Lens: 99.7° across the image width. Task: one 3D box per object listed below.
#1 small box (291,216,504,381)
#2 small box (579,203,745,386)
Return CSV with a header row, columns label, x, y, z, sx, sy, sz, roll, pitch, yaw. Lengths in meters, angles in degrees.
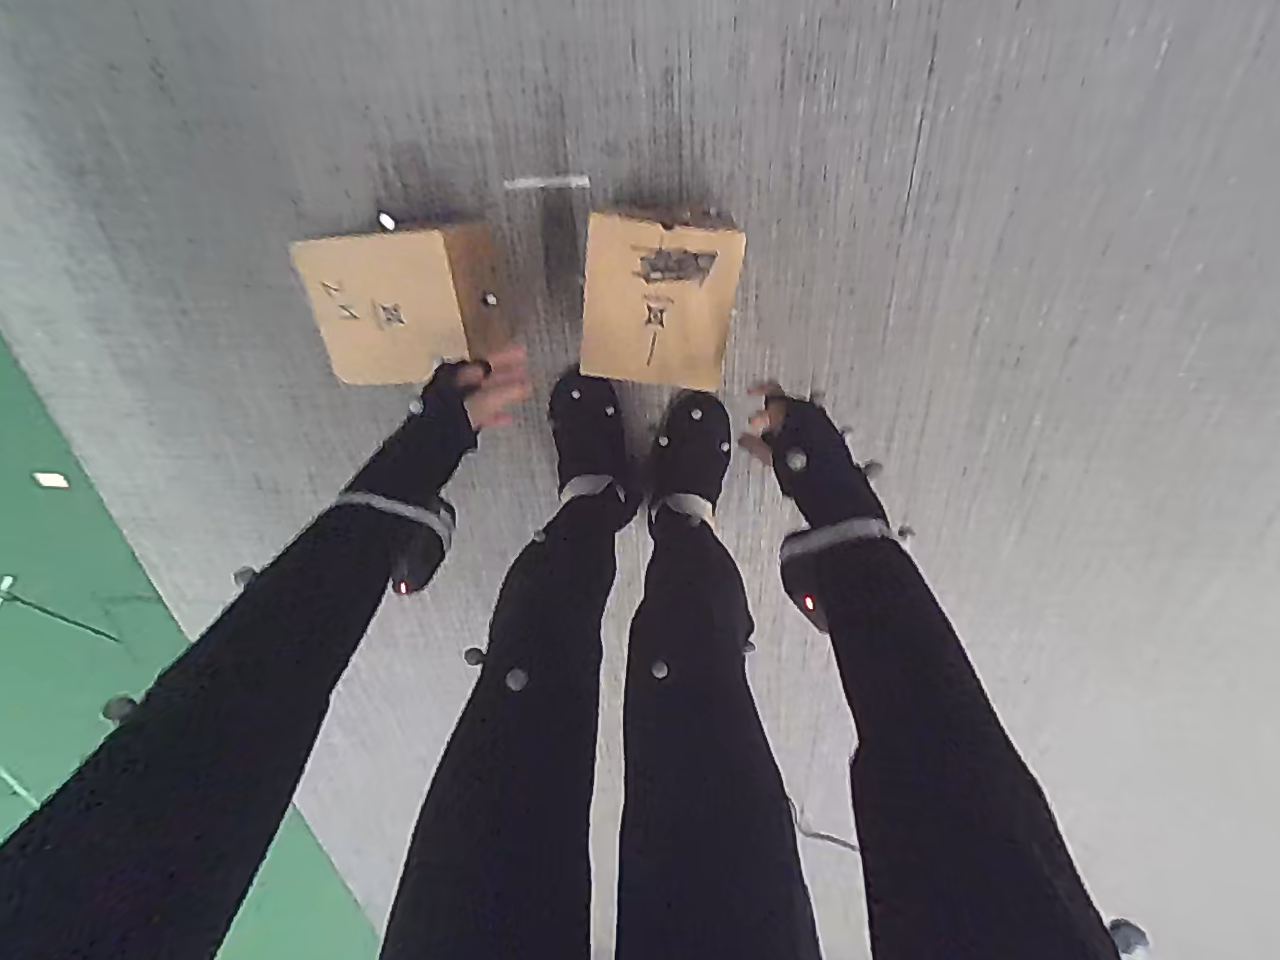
label,x,y,z,sx,sy,sz,roll,pitch,yaw
small box,-0.283,-0.235,0.686,0.179,0.176,0.168,-1,120,5
small box,0.023,-0.235,0.668,0.168,0.176,0.179,7,121,0
